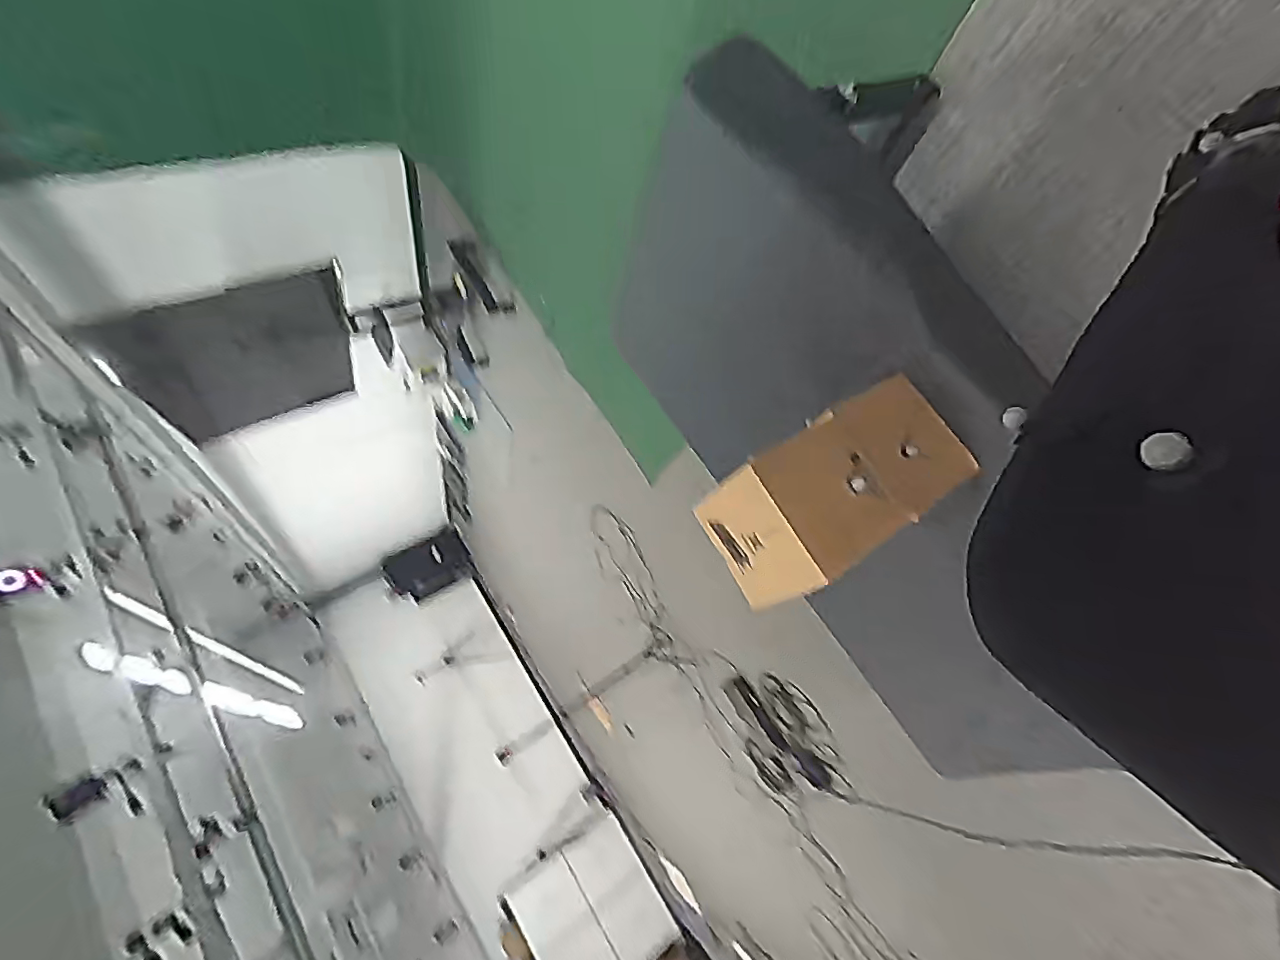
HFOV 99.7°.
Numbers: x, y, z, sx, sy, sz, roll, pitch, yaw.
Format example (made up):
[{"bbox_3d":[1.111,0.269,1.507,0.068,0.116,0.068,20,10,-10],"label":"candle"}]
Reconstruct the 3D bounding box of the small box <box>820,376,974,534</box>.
[{"bbox_3d":[0.348,-0.025,0.811,0.179,0.176,0.168,56,154,13],"label":"small box"}]

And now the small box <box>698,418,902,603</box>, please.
[{"bbox_3d":[0.213,0.043,0.744,0.168,0.176,0.179,57,156,14],"label":"small box"}]
